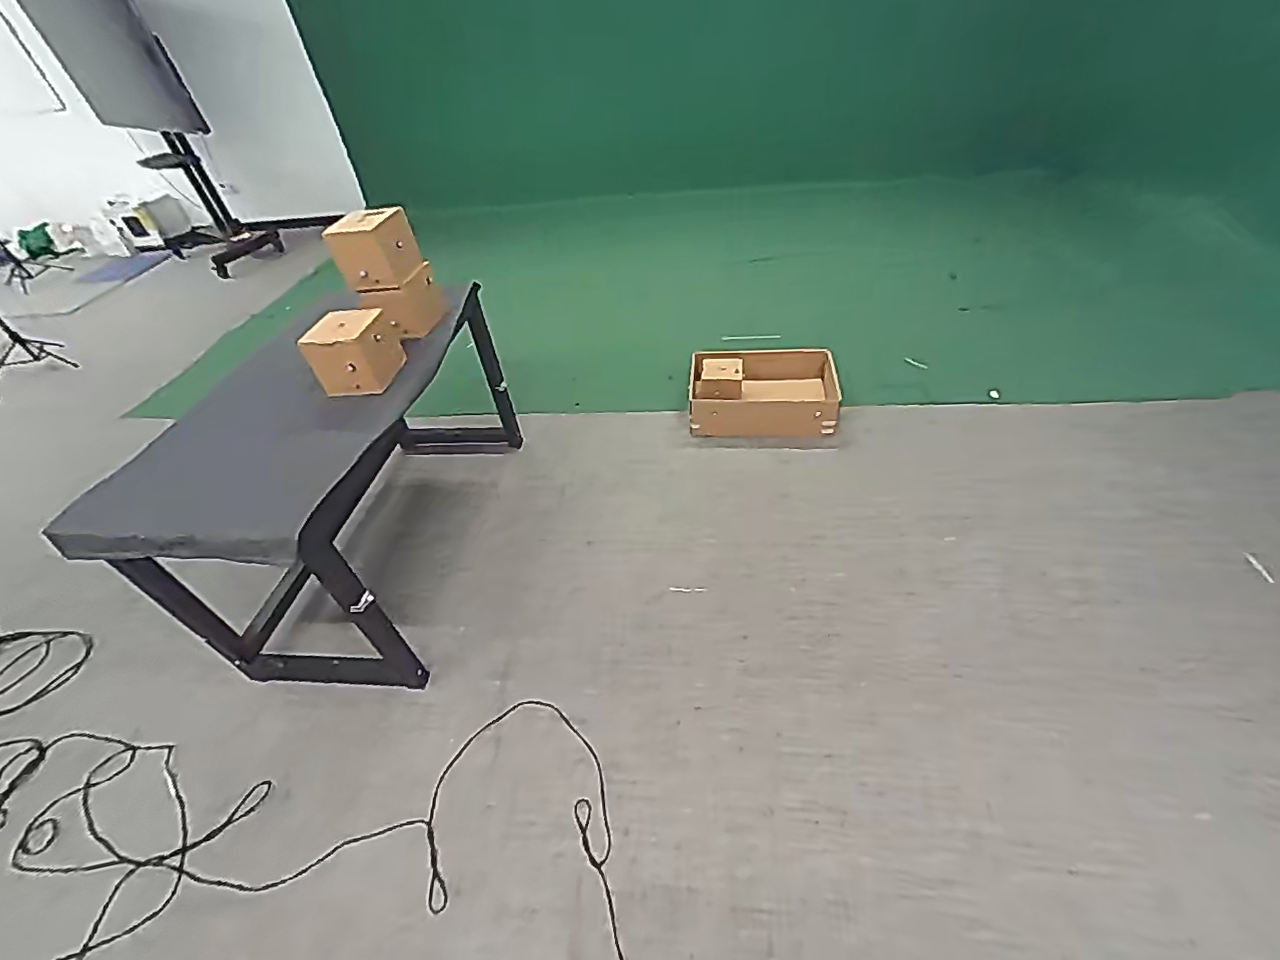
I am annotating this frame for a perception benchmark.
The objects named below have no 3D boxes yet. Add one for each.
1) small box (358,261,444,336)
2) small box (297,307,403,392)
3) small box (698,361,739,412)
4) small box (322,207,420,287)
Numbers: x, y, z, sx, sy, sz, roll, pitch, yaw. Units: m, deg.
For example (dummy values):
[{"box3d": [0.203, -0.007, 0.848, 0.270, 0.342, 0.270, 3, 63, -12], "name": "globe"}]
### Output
[{"box3d": [-0.743, -0.572, 1.703, 0.168, 0.176, 0.179, 2, 45, 12], "name": "small box"}, {"box3d": [-0.780, -0.352, 1.480, 0.168, 0.176, 0.179, 0, 43, 7], "name": "small box"}, {"box3d": [0.351, -0.415, 2.406, 0.179, 0.176, 0.168, 2, 45, 9], "name": "small box"}, {"box3d": [-0.774, -0.681, 1.583, 0.168, 0.176, 0.179, 1, 45, 11], "name": "small box"}]
